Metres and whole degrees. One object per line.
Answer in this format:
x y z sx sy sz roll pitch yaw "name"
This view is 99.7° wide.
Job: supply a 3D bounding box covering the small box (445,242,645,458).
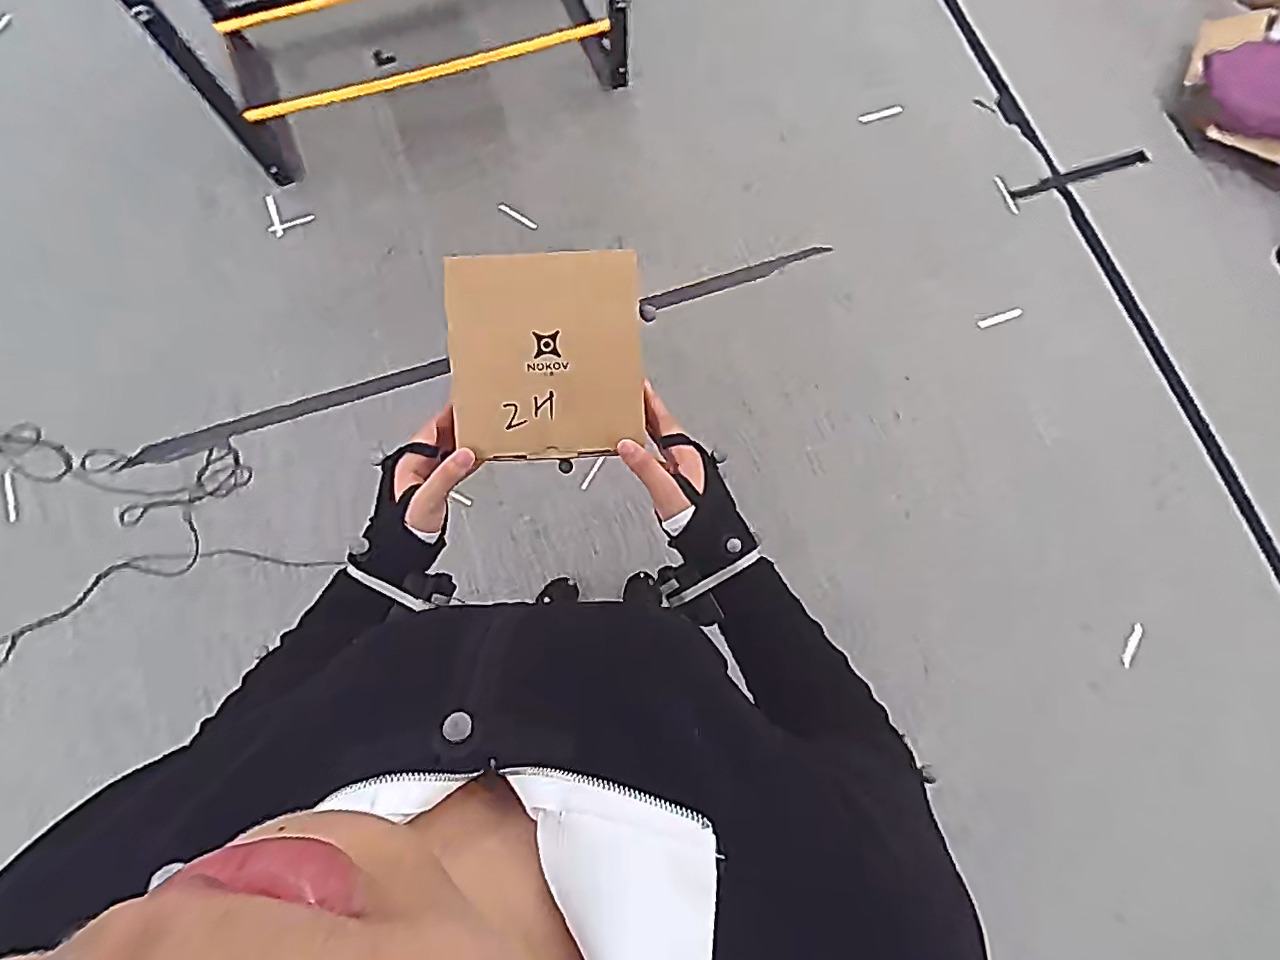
-0.084 -0.116 0.547 0.168 0.176 0.179 -4 91 0 "small box"
